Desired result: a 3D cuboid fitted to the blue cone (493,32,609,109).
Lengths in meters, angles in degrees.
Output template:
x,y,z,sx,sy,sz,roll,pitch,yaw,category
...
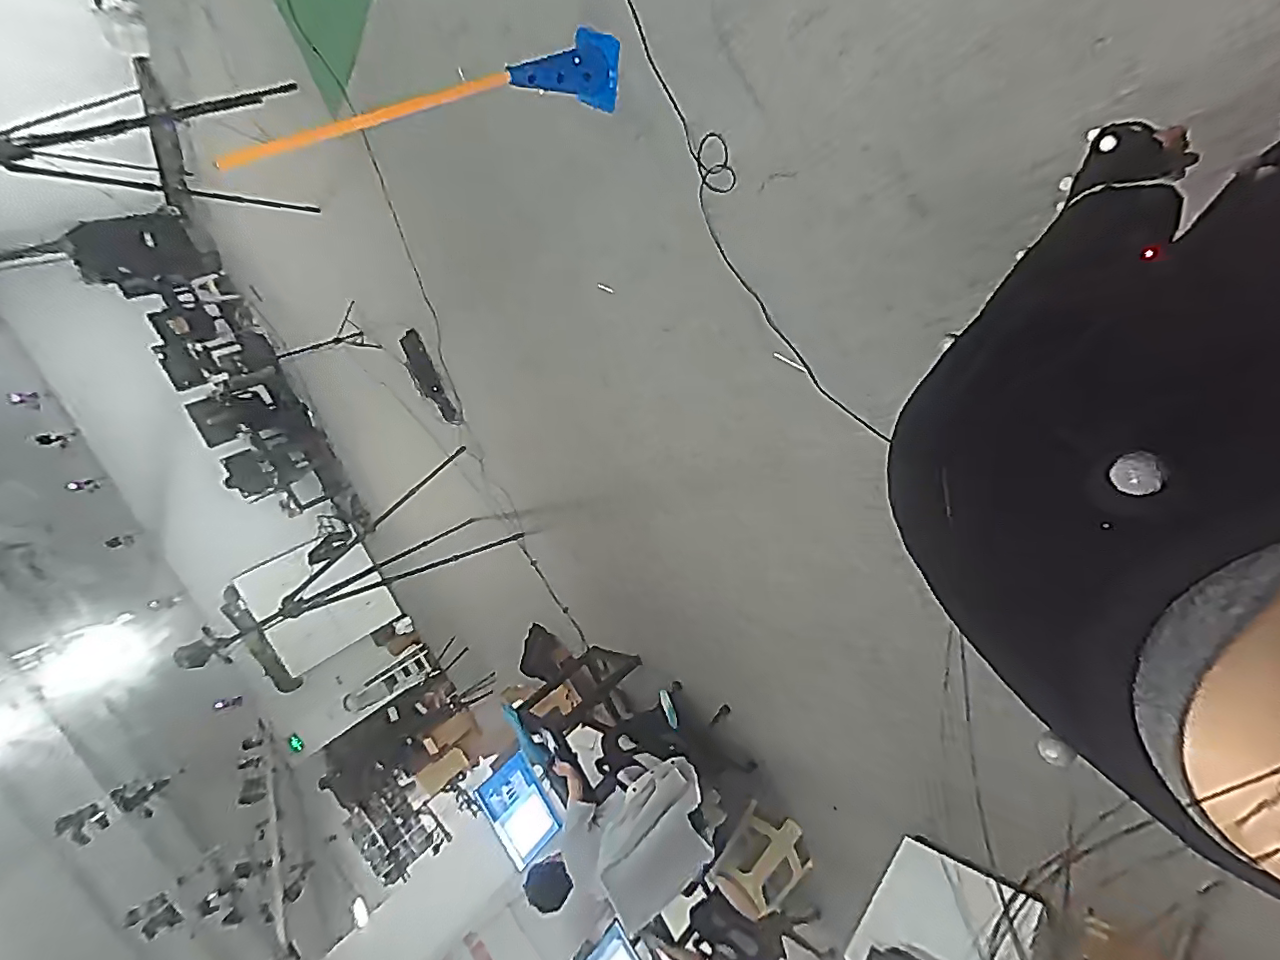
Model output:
x,y,z,sx,sy,sz,roll,pitch,yaw,category
-0.284,-1.259,1.675,0.192,0.380,0.193,37,142,25,blue cone
